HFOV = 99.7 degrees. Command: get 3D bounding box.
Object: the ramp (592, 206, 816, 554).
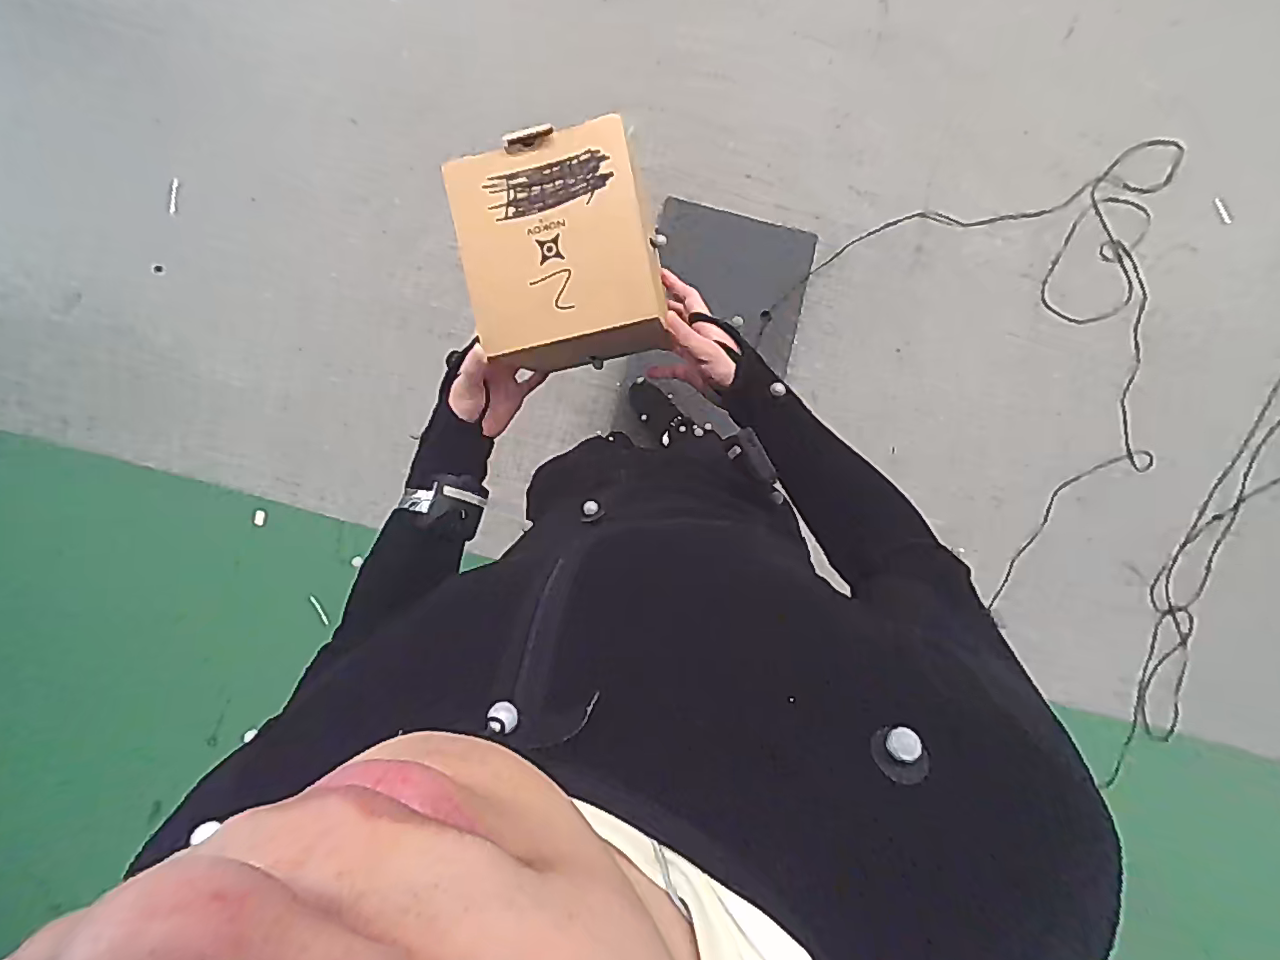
[{"bbox_3d":[0.199,-0.312,1.652,0.509,0.206,0.991,12,98,0],"label":"ramp"}]
